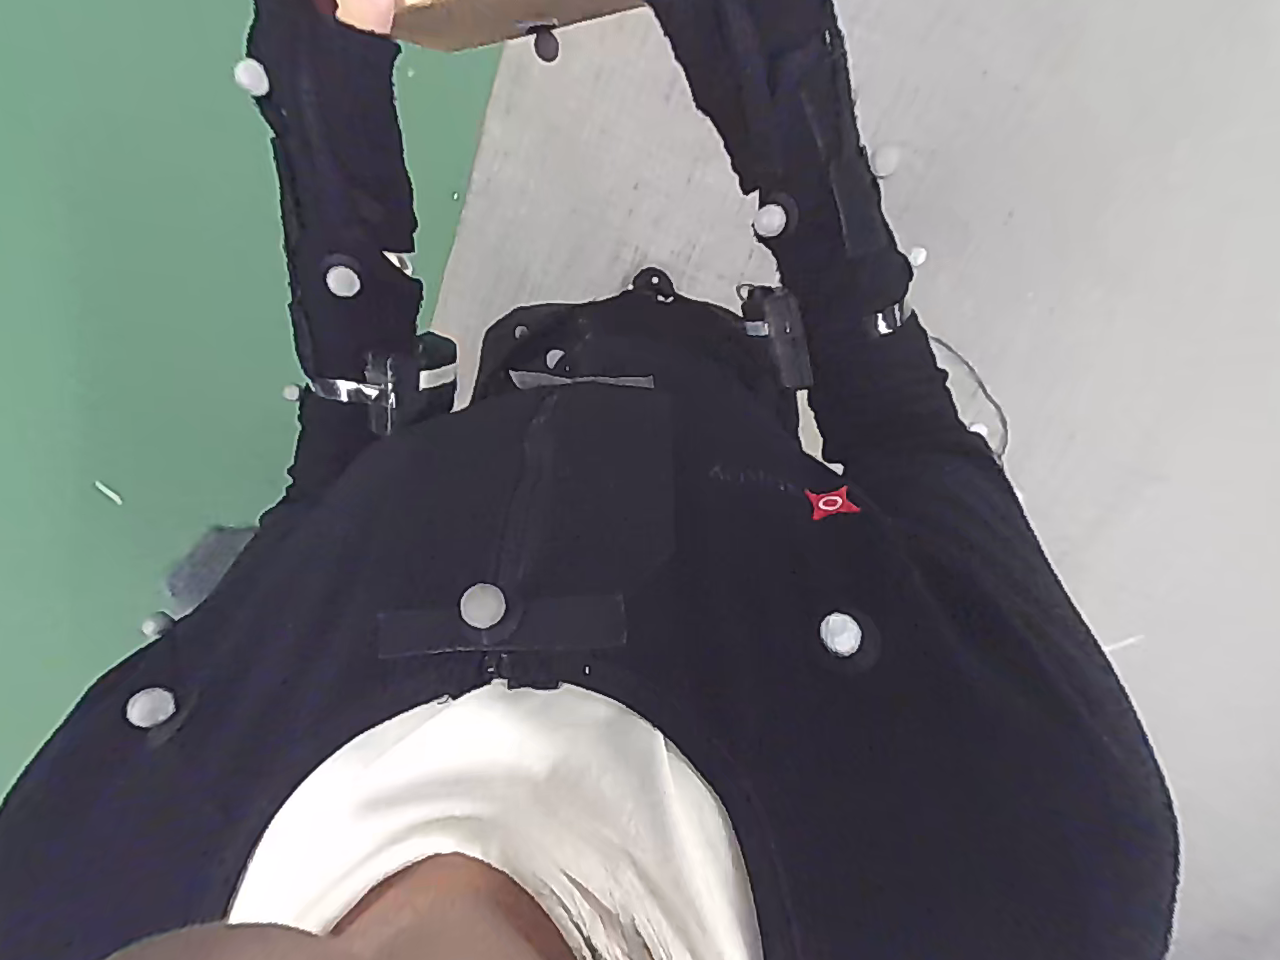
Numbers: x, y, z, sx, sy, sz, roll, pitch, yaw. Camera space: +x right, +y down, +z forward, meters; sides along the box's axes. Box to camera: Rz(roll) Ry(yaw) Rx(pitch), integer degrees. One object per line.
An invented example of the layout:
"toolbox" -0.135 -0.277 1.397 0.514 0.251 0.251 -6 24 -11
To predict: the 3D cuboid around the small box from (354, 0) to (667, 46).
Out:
"small box" -0.065 -0.337 0.255 0.168 0.176 0.179 -8 124 6
